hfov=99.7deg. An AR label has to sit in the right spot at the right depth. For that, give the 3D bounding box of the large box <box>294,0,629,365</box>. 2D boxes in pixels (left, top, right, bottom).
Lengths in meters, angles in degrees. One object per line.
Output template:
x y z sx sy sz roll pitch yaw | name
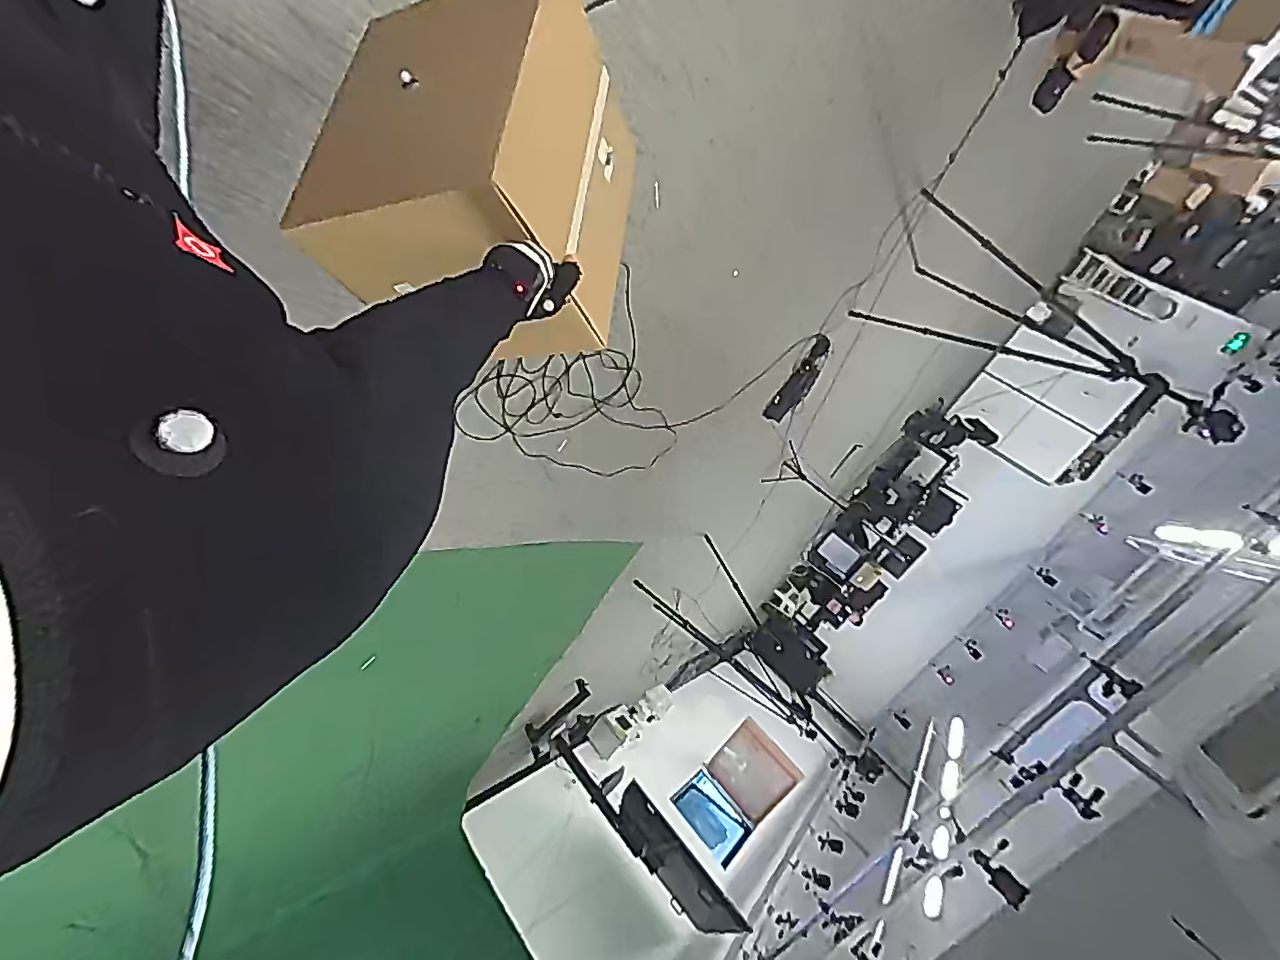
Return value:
-0.229 -0.435 0.813 0.320 0.320 0.408 48 44 -62 | large box
